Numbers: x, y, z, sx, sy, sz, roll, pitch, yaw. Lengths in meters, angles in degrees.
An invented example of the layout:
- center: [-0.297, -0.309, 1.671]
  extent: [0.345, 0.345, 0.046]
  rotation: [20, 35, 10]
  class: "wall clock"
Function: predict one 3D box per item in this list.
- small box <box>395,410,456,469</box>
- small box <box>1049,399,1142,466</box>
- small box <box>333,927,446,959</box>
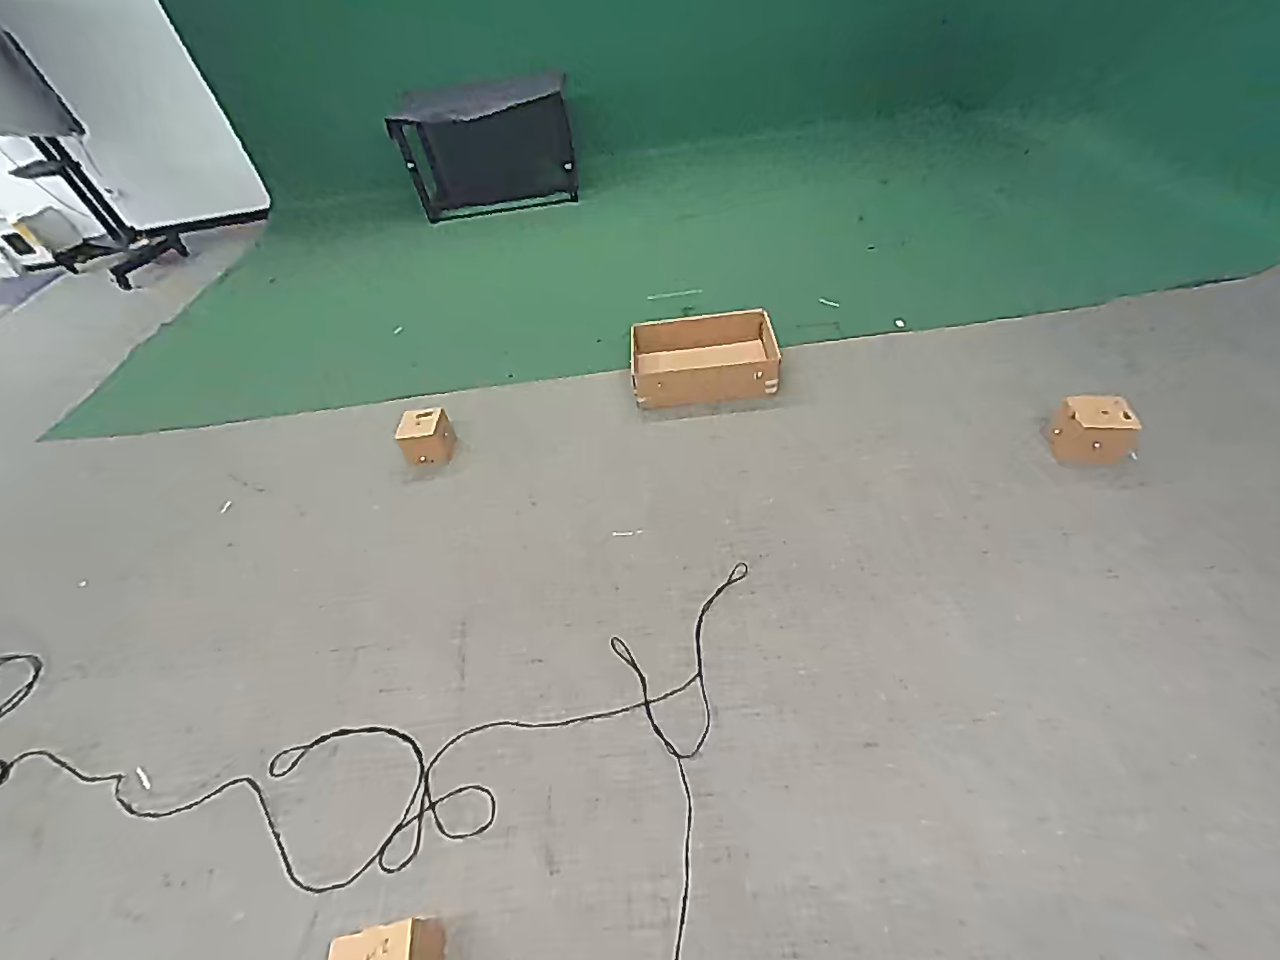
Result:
- center: [-0.894, -0.171, 2.275]
  extent: [0.168, 0.176, 0.179]
  rotation: [-6, 47, 4]
  class: "small box"
- center: [1.538, -0.160, 1.845]
  extent: [0.179, 0.176, 0.168]
  rotation: [2, 47, 12]
  class: "small box"
- center: [-0.498, 1.023, 1.073]
  extent: [0.168, 0.176, 0.179]
  rotation: [-14, 45, -3]
  class: "small box"
